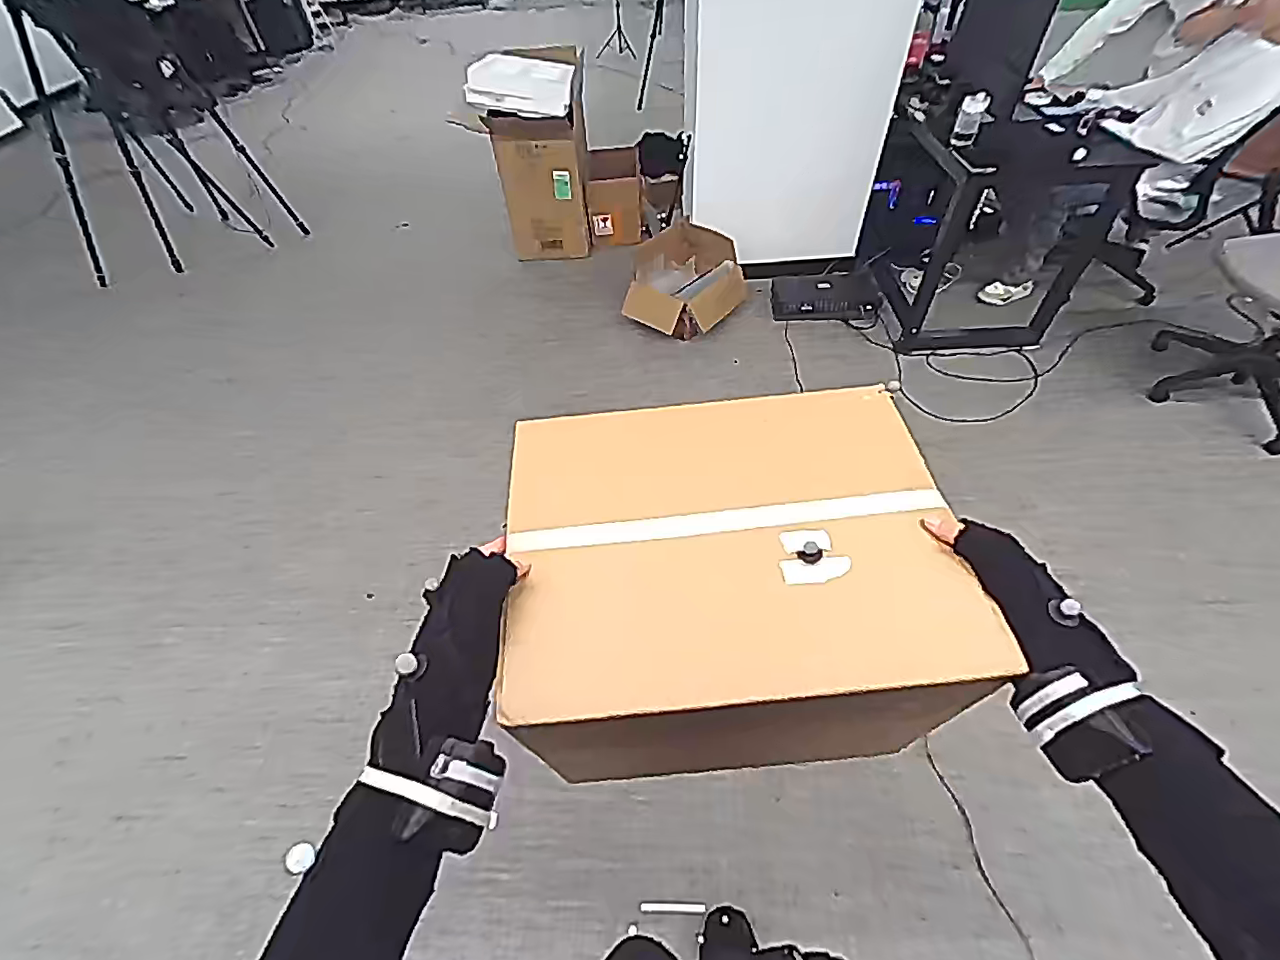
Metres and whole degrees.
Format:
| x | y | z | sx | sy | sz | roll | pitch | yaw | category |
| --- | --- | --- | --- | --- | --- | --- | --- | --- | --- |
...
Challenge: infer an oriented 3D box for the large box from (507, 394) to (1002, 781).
| x | y | z | sx | sy | sz | roll | pitch | yaw | category |
| --- | --- | --- | --- | --- | --- | --- | --- | --- | --- |
| 0.086 | 0.135 | 0.631 | 0.408 | 0.320 | 0.320 | -6 | 53 | 0 | large box |
